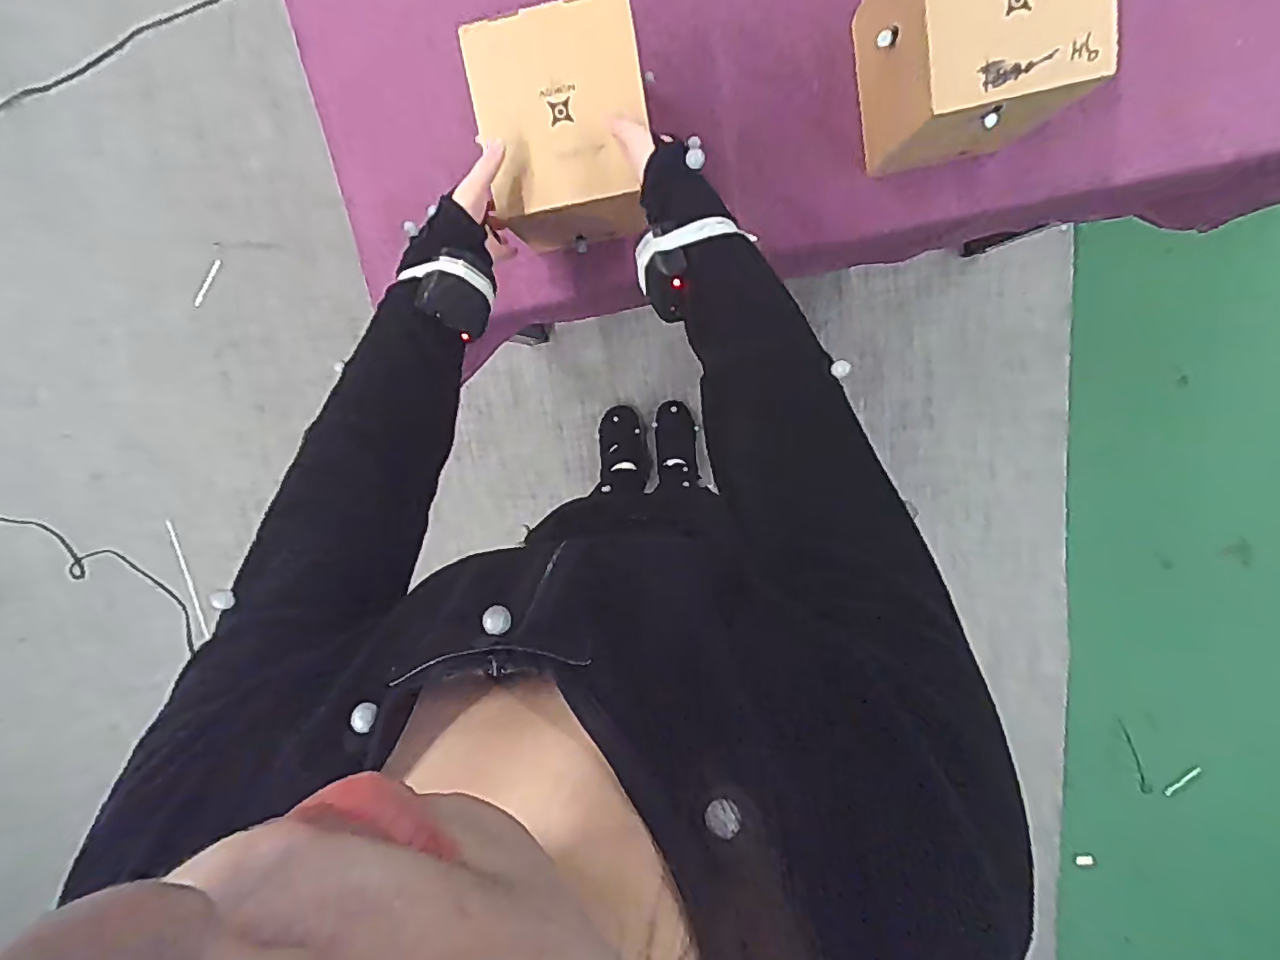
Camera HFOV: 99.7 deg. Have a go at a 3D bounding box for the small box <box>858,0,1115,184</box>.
[{"bbox_3d":[0.342,-0.444,0.564,0.168,0.176,0.179,-10,100,6],"label":"small box"}]

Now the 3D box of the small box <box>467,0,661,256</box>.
[{"bbox_3d":[-0.070,-0.369,0.601,0.168,0.176,0.179,-8,101,5],"label":"small box"}]
